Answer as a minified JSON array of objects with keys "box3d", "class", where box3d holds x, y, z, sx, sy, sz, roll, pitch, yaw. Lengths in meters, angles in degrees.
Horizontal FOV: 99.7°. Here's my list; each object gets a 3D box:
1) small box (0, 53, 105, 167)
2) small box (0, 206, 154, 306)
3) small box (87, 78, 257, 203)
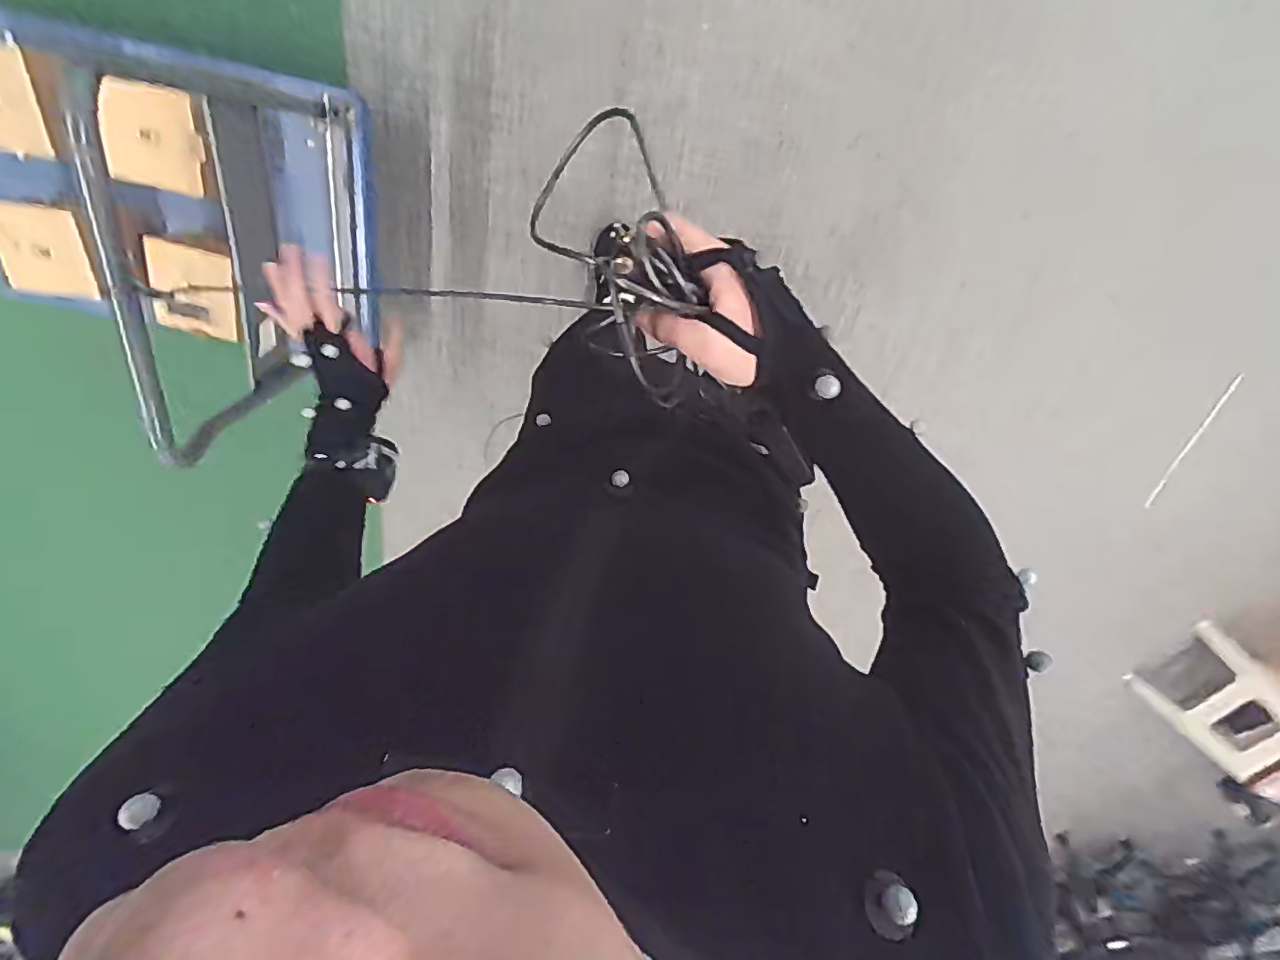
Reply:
[{"box3d":[-1.151,-0.699,1.021,0.179,0.176,0.168,8,120,-6],"class":"small box"},{"box3d":[-1.190,-0.479,1.146,0.179,0.176,0.168,6,119,-4],"class":"small box"},{"box3d":[-0.895,-0.651,1.054,0.179,0.176,0.168,10,119,-7],"class":"small box"}]
